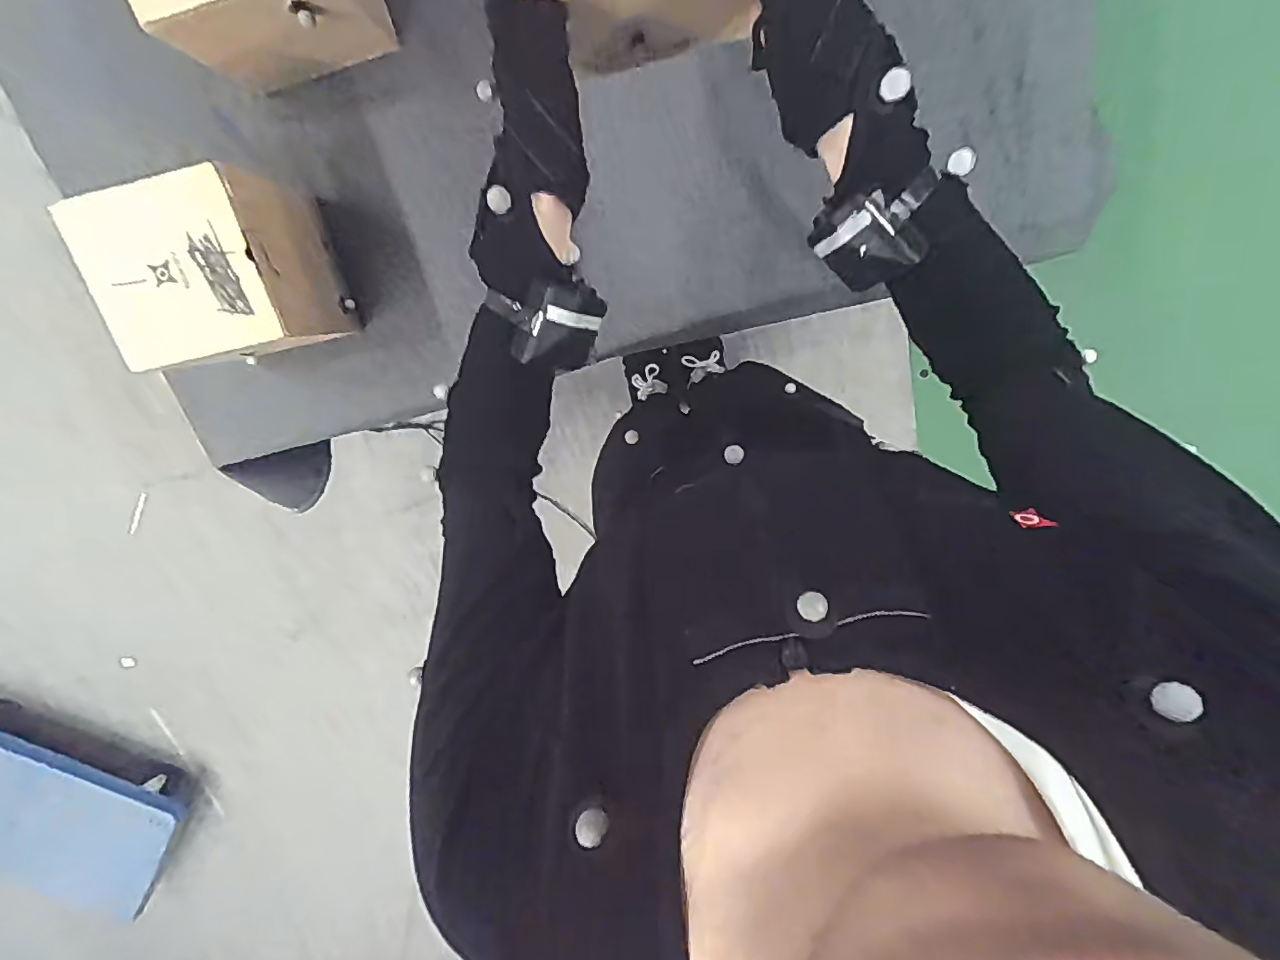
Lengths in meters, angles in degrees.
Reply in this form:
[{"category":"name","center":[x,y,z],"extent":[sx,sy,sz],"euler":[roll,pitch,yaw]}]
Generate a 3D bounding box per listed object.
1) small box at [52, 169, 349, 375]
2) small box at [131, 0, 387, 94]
[{"category":"small box","center":[-0.462,-0.225,0.611],"extent":[0.179,0.176,0.168],"euler":[-12,107,3]},{"category":"small box","center":[-0.372,-0.512,0.520],"extent":[0.179,0.176,0.168],"euler":[-14,108,4]}]
